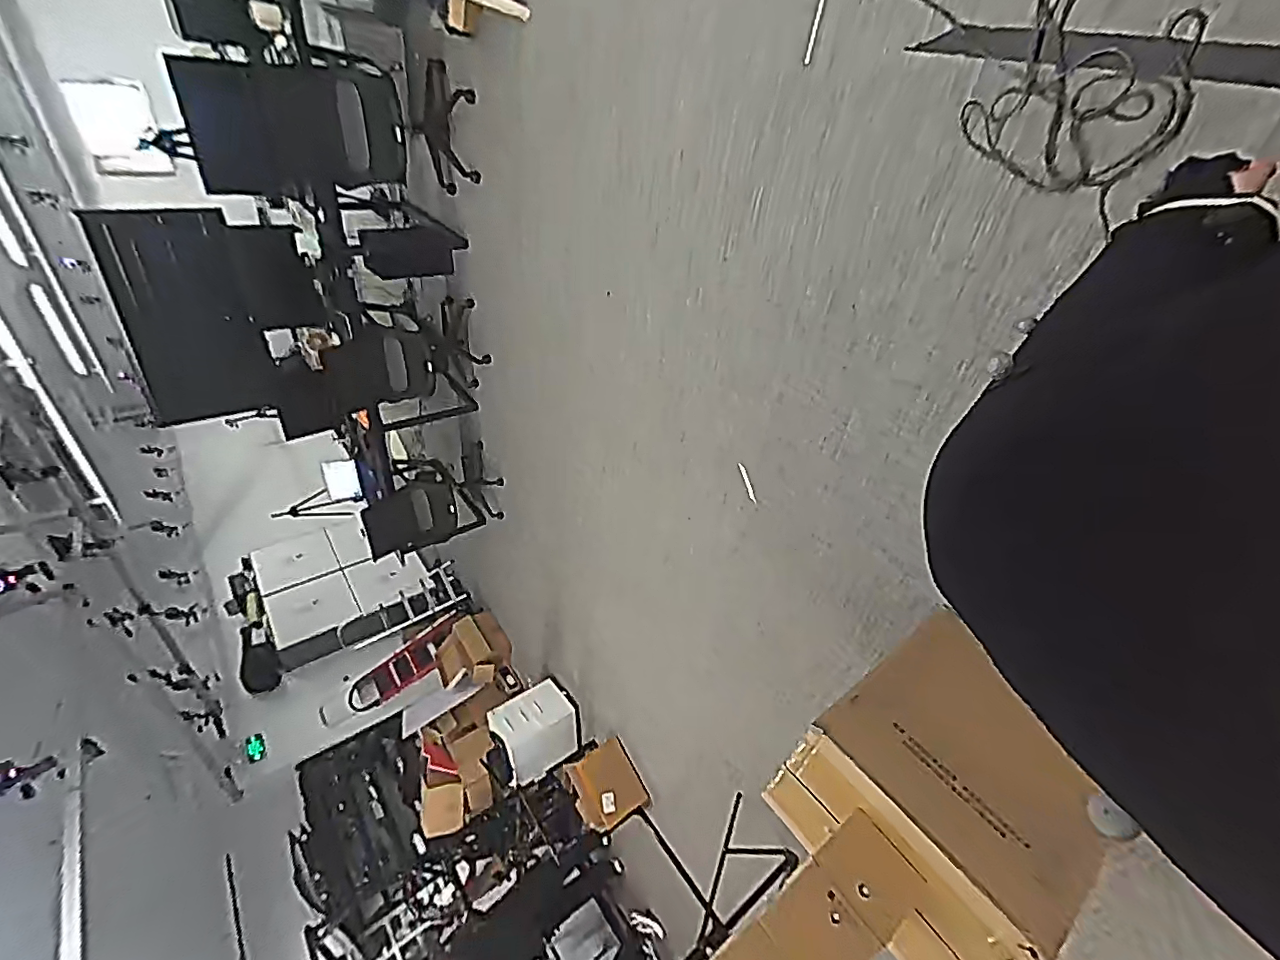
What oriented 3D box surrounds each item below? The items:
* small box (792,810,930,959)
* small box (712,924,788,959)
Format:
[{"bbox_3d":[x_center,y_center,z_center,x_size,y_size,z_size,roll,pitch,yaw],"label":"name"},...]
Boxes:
[{"bbox_3d":[0.455,0.834,1.117,0.179,0.176,0.168,45,139,35],"label":"small box"},{"bbox_3d":[0.189,0.926,0.944,0.179,0.176,0.168,44,139,35],"label":"small box"}]
